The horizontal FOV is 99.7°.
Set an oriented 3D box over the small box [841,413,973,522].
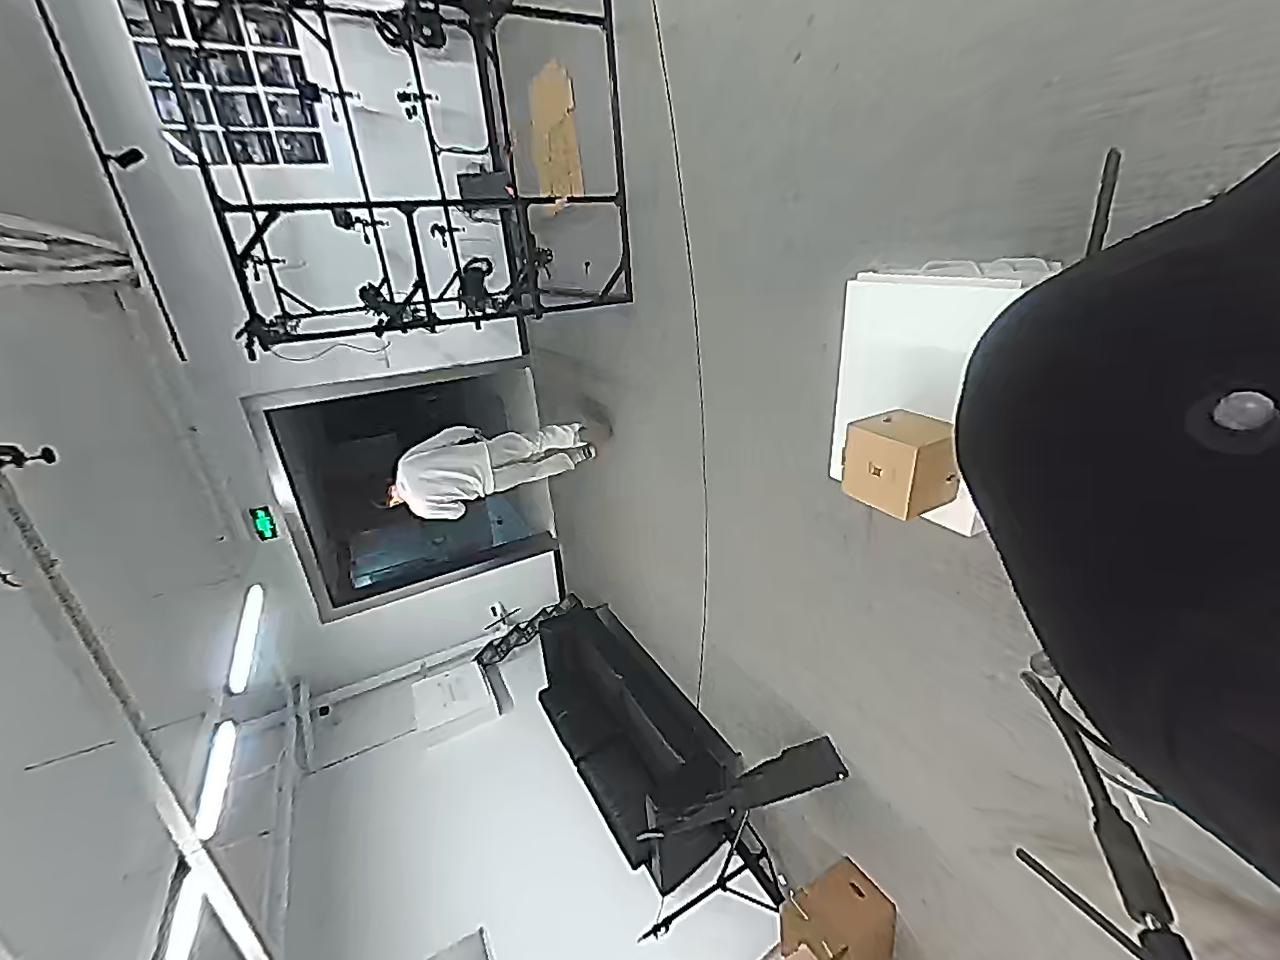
[{"bbox_3d":[0.564,-0.036,1.155,0.179,0.176,0.168,37,137,54],"label":"small box"}]
